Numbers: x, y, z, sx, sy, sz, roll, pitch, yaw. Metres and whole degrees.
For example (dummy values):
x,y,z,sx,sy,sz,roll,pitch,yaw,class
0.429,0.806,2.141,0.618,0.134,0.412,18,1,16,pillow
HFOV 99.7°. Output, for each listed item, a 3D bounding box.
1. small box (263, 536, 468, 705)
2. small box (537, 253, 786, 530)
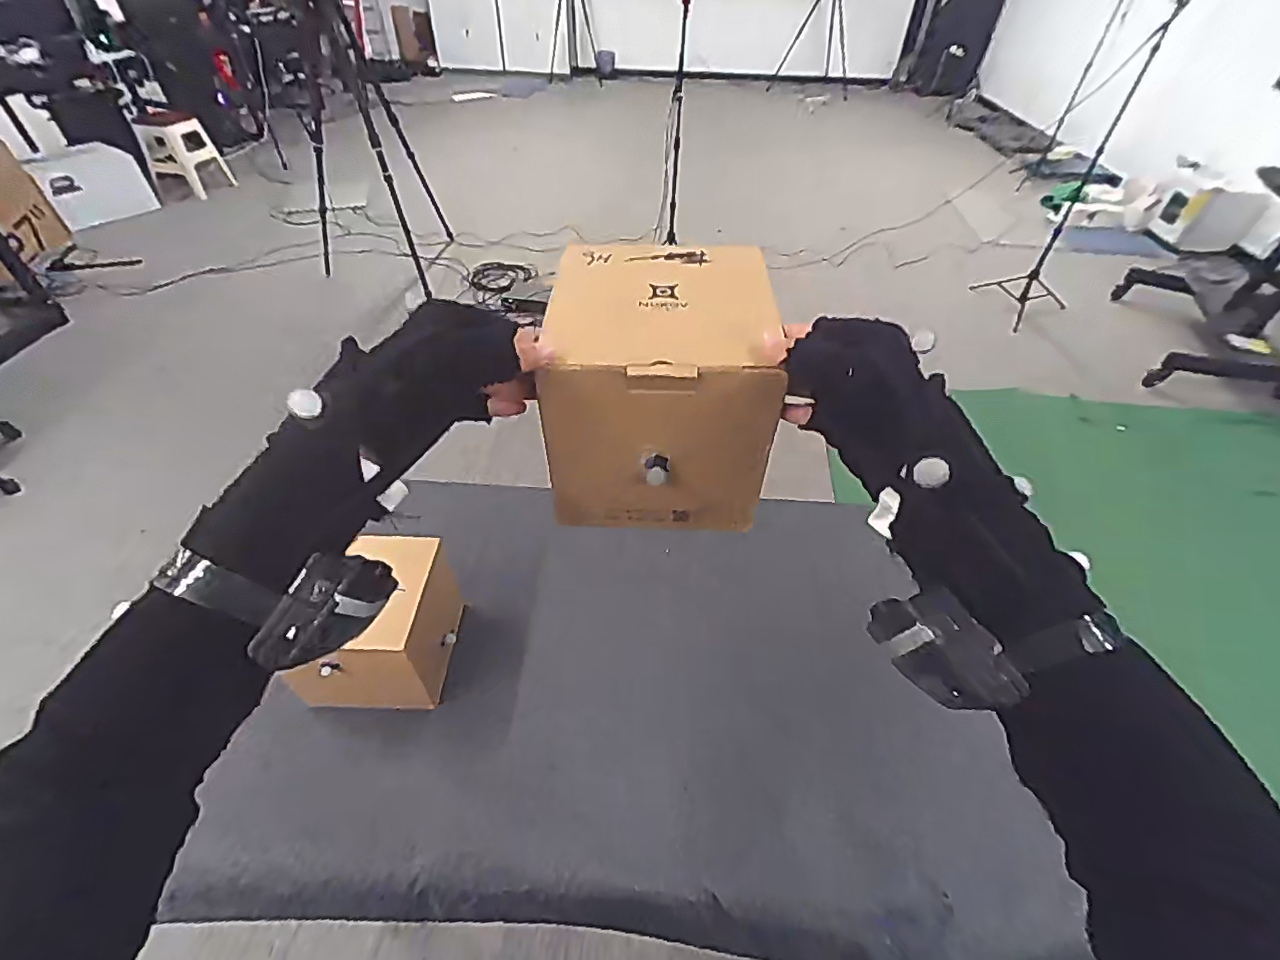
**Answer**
x,y,z,sx,sy,sz,roll,pitch,yaw,class
-0.352,0.193,0.736,0.179,0.176,0.168,2,46,-1,small box
0.018,-0.073,0.461,0.168,0.176,0.179,2,48,1,small box
